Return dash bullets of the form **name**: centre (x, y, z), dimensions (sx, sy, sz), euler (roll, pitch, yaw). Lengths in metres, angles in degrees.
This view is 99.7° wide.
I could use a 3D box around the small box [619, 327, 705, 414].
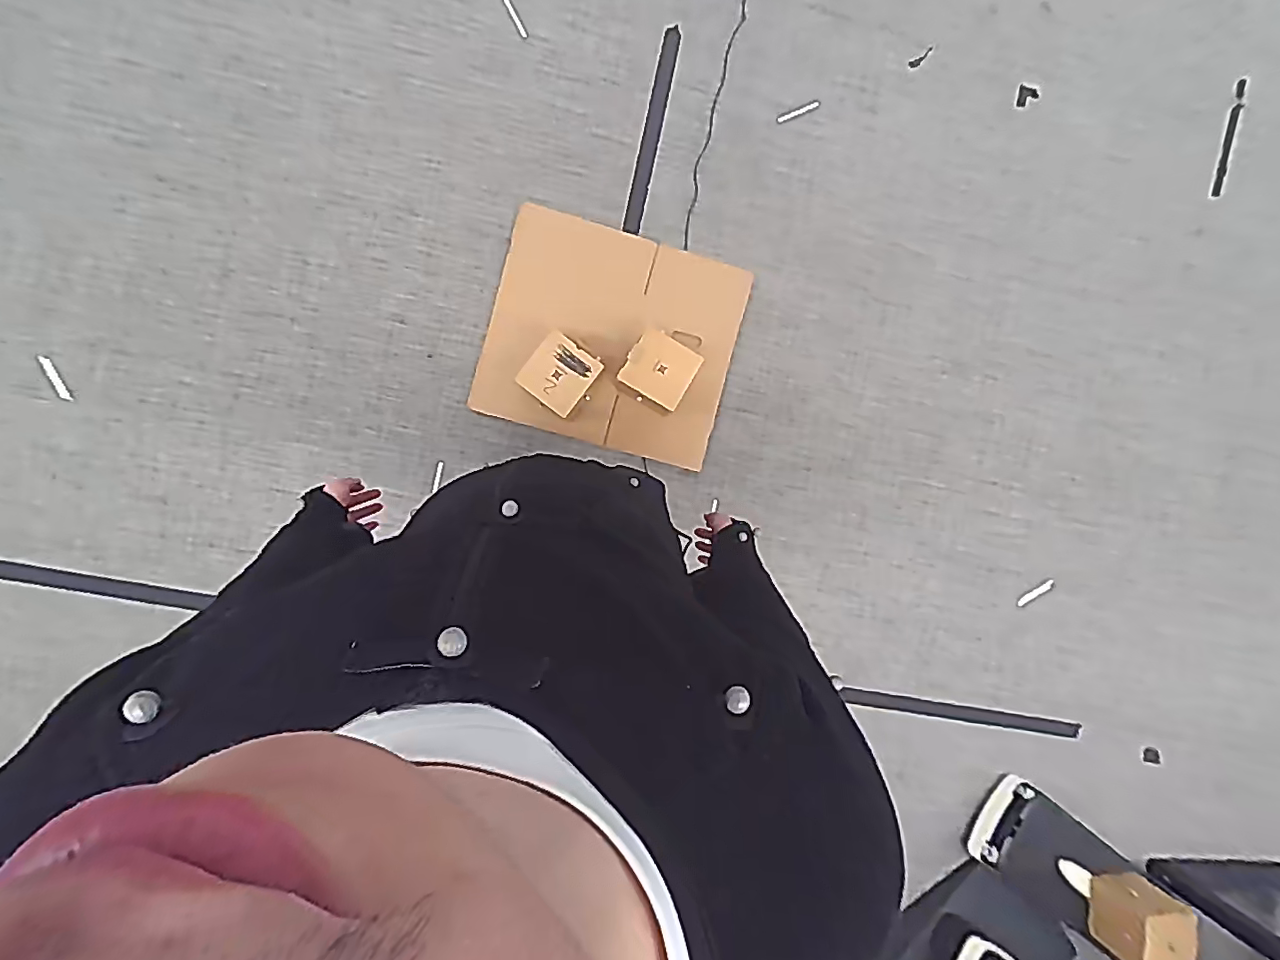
- **small box**: centre (0.056, -0.296, 1.503), dimensions (0.179, 0.176, 0.168), euler (30, 90, -3)
